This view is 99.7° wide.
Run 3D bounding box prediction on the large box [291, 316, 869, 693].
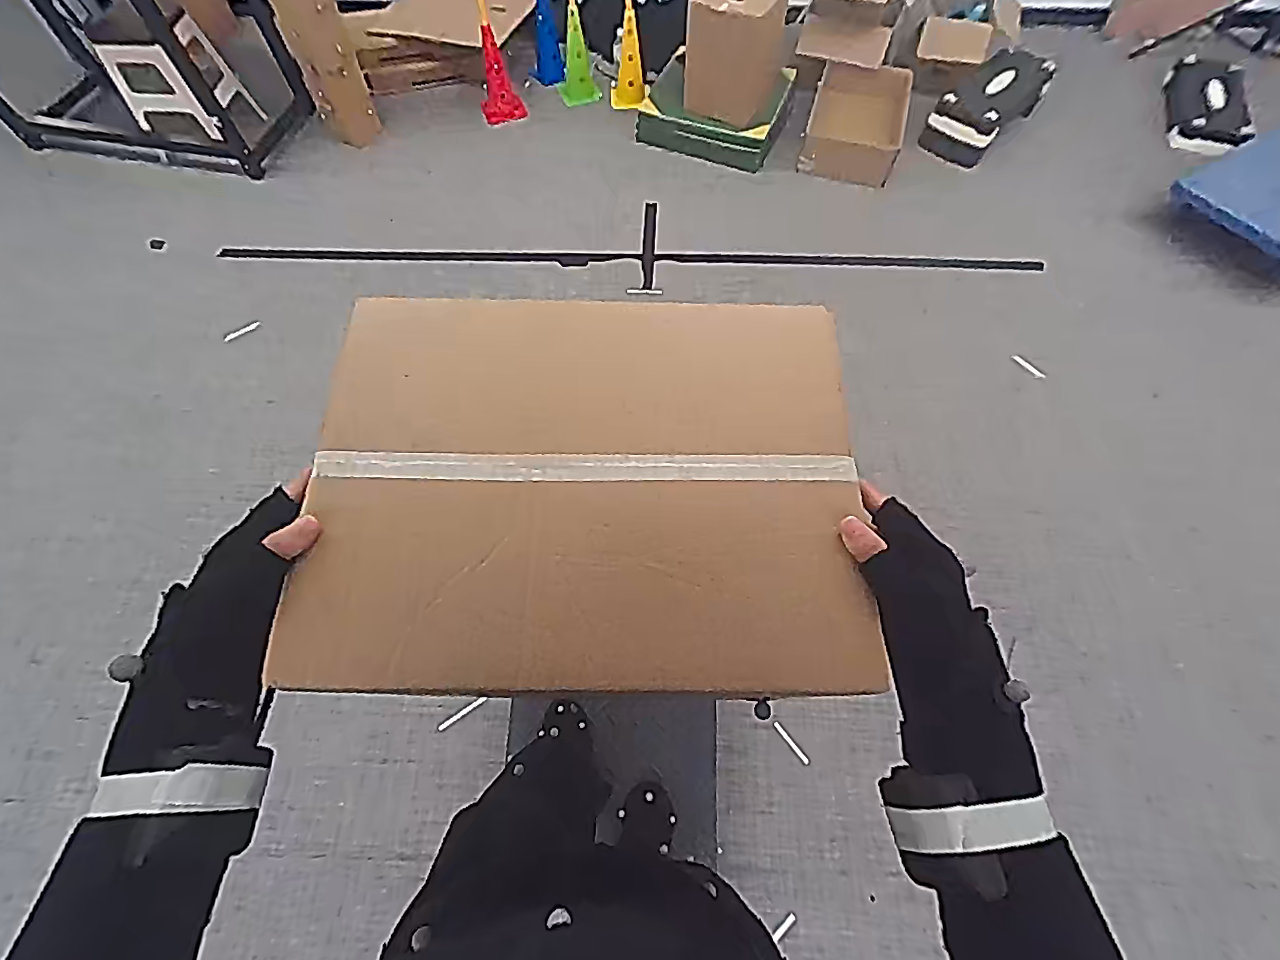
[{"bbox_3d":[-0.041,0.052,0.560,0.408,0.320,0.320,1,67,-1],"label":"large box"}]
